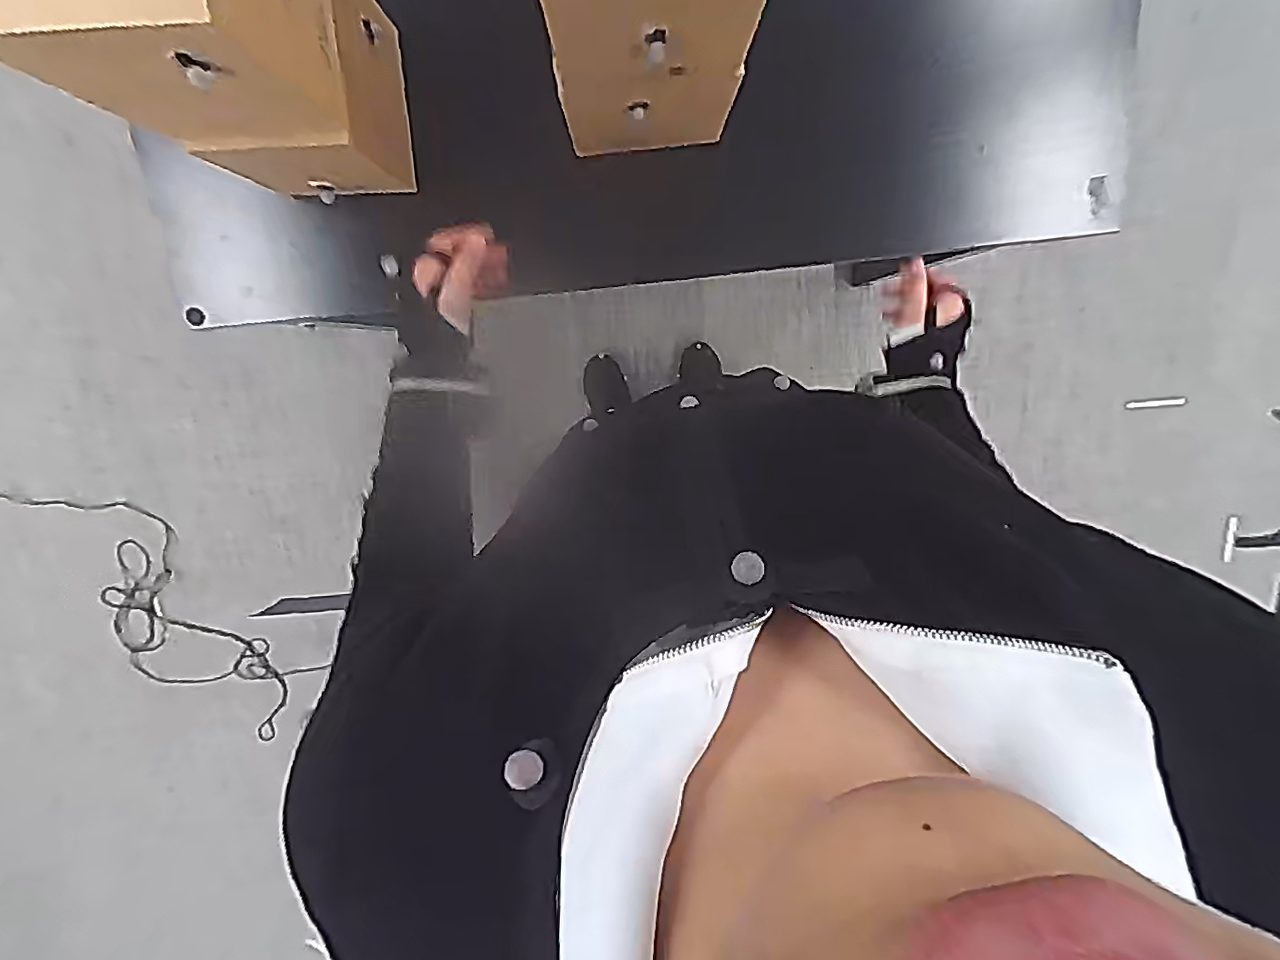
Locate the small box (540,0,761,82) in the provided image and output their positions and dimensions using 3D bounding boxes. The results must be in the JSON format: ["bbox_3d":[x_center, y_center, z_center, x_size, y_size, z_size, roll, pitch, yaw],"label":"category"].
[{"bbox_3d":[0.005,-0.430,0.403,0.168,0.176,0.179,-6,104,1],"label":"small box"}]

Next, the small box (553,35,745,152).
[{"bbox_3d":[0.004,-0.465,0.563,0.179,0.176,0.168,-6,104,0],"label":"small box"}]

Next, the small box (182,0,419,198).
[{"bbox_3d":[-0.355,-0.419,0.574,0.168,0.176,0.179,-3,104,1],"label":"small box"}]

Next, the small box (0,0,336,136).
[{"bbox_3d":[-0.360,-0.386,0.411,0.179,0.176,0.168,-3,103,1],"label":"small box"}]
